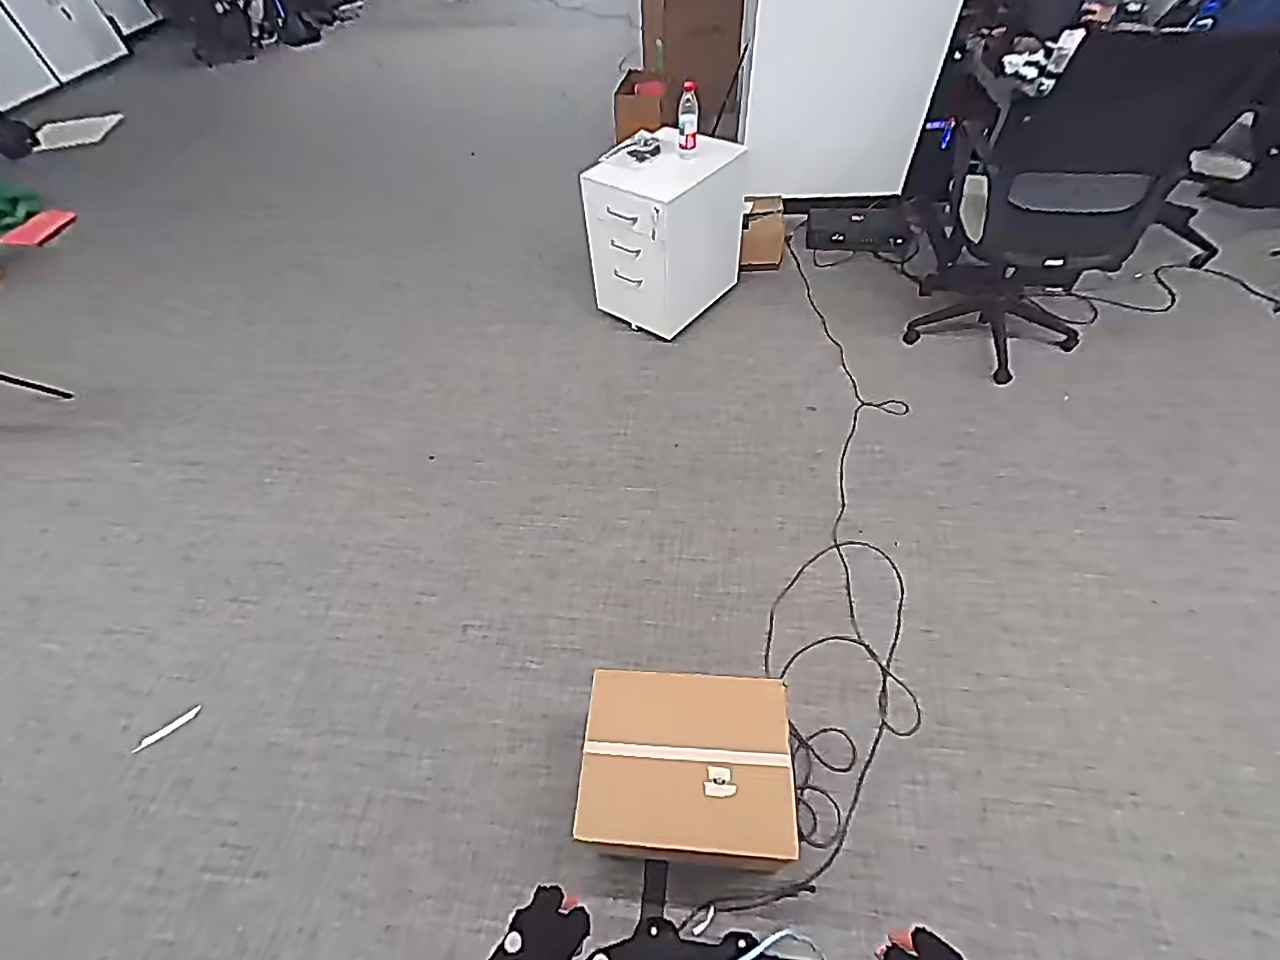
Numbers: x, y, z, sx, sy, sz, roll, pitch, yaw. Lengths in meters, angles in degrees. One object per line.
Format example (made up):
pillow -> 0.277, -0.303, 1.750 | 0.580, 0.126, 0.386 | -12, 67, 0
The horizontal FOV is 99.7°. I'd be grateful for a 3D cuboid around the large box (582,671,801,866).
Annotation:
large box -> 0.109, 0.631, 1.179 | 0.408, 0.320, 0.320 | 1, 52, 6
